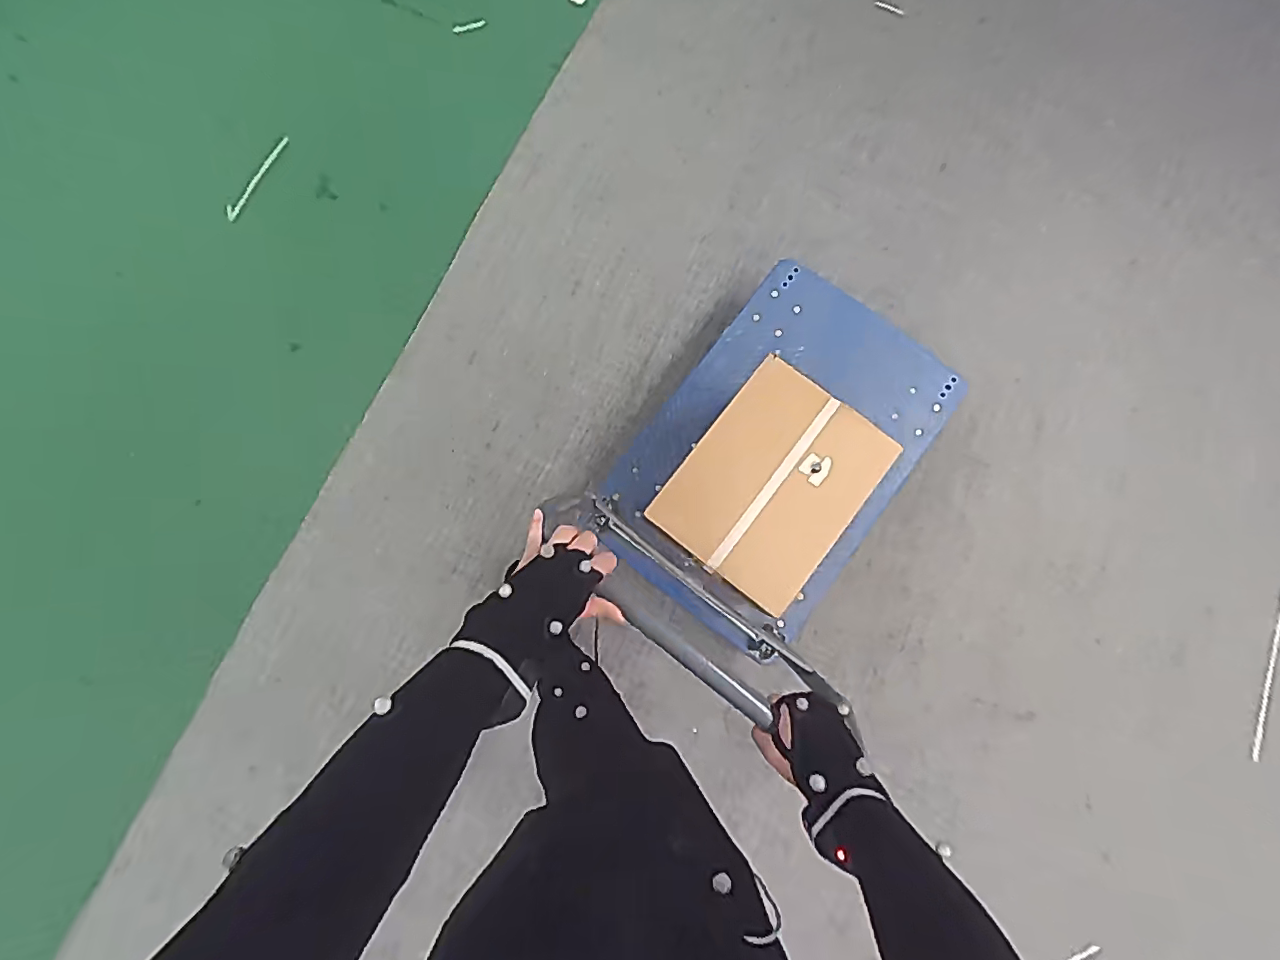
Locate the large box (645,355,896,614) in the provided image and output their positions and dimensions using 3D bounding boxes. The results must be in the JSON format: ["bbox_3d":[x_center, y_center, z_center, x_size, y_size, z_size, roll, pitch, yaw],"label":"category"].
[{"bbox_3d":[0.248,0.024,1.157,0.320,0.320,0.408,38,83,5],"label":"large box"}]
